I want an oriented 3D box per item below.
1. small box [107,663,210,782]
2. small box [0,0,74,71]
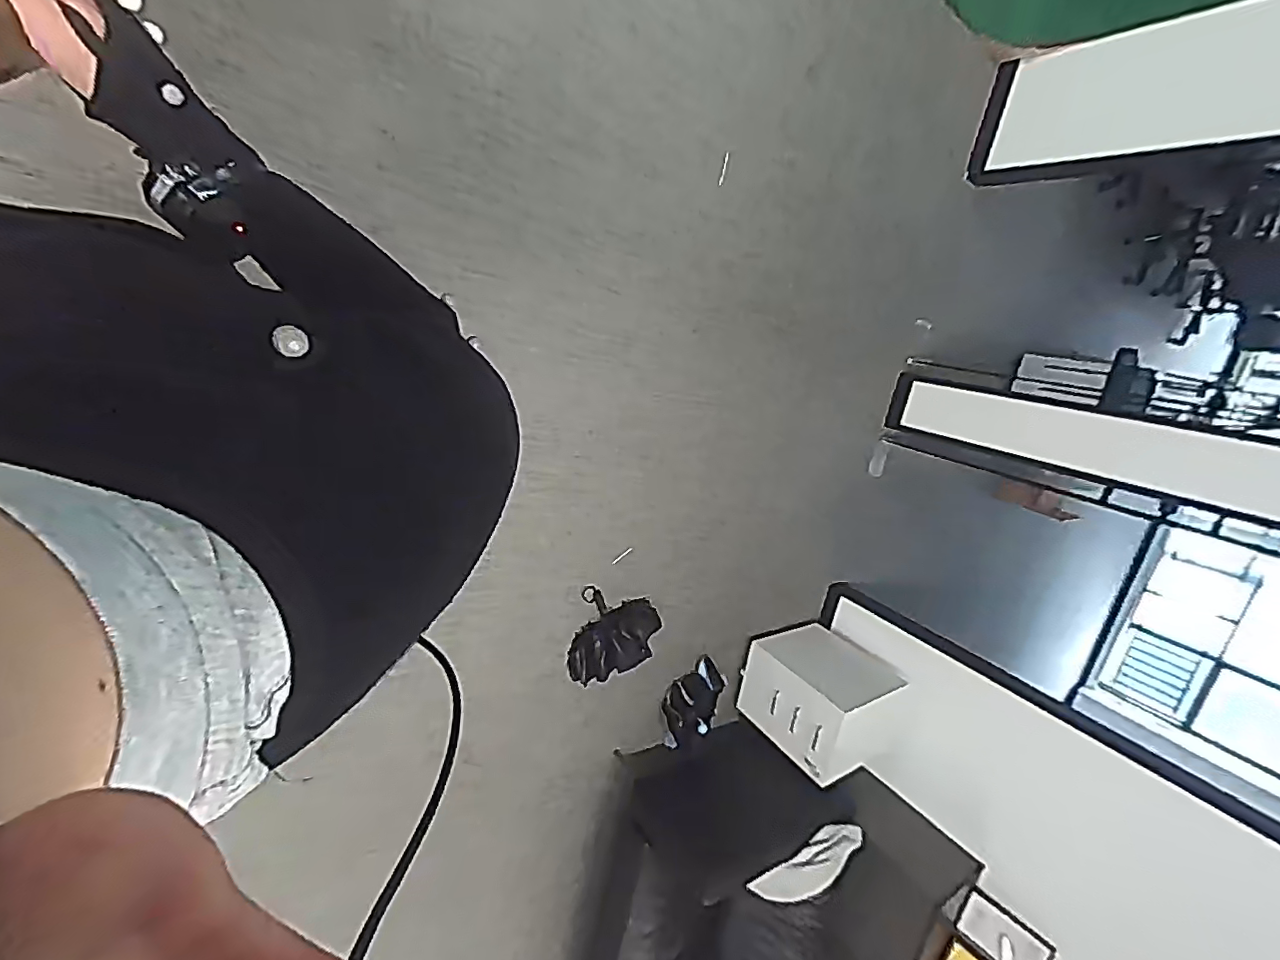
[{"bbox_3d":[-1.170,0.585,1.325,0.168,0.176,0.179,-4,110,-35],"label":"small box"},{"bbox_3d":[-0.515,-0.344,0.317,0.168,0.176,0.179,-33,125,-8],"label":"small box"}]
